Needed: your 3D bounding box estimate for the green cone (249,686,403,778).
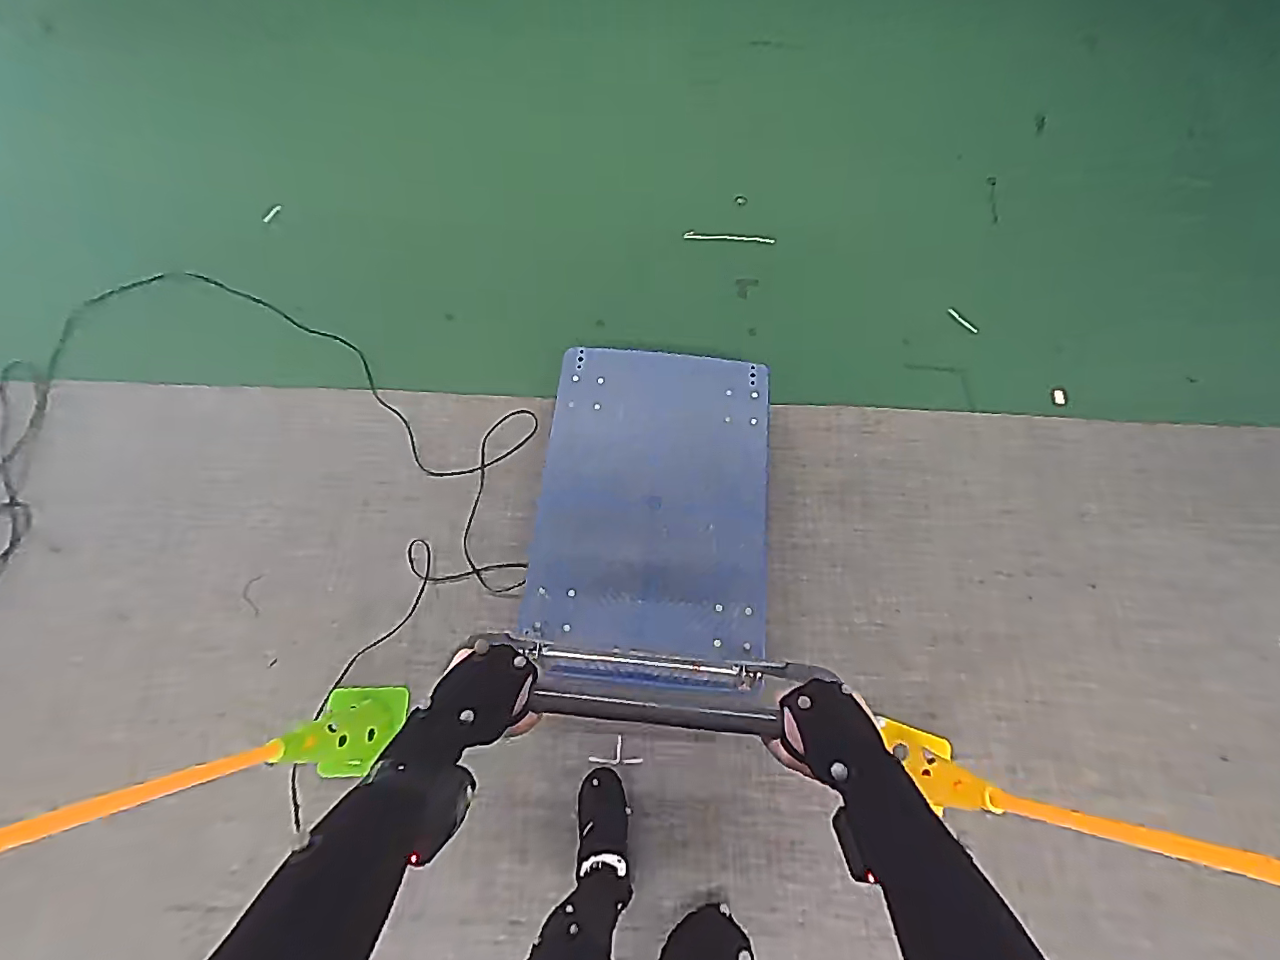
[{"bbox_3d":[-0.689,0.552,1.157,0.202,0.368,0.200,-2,70,0],"label":"green cone"}]
